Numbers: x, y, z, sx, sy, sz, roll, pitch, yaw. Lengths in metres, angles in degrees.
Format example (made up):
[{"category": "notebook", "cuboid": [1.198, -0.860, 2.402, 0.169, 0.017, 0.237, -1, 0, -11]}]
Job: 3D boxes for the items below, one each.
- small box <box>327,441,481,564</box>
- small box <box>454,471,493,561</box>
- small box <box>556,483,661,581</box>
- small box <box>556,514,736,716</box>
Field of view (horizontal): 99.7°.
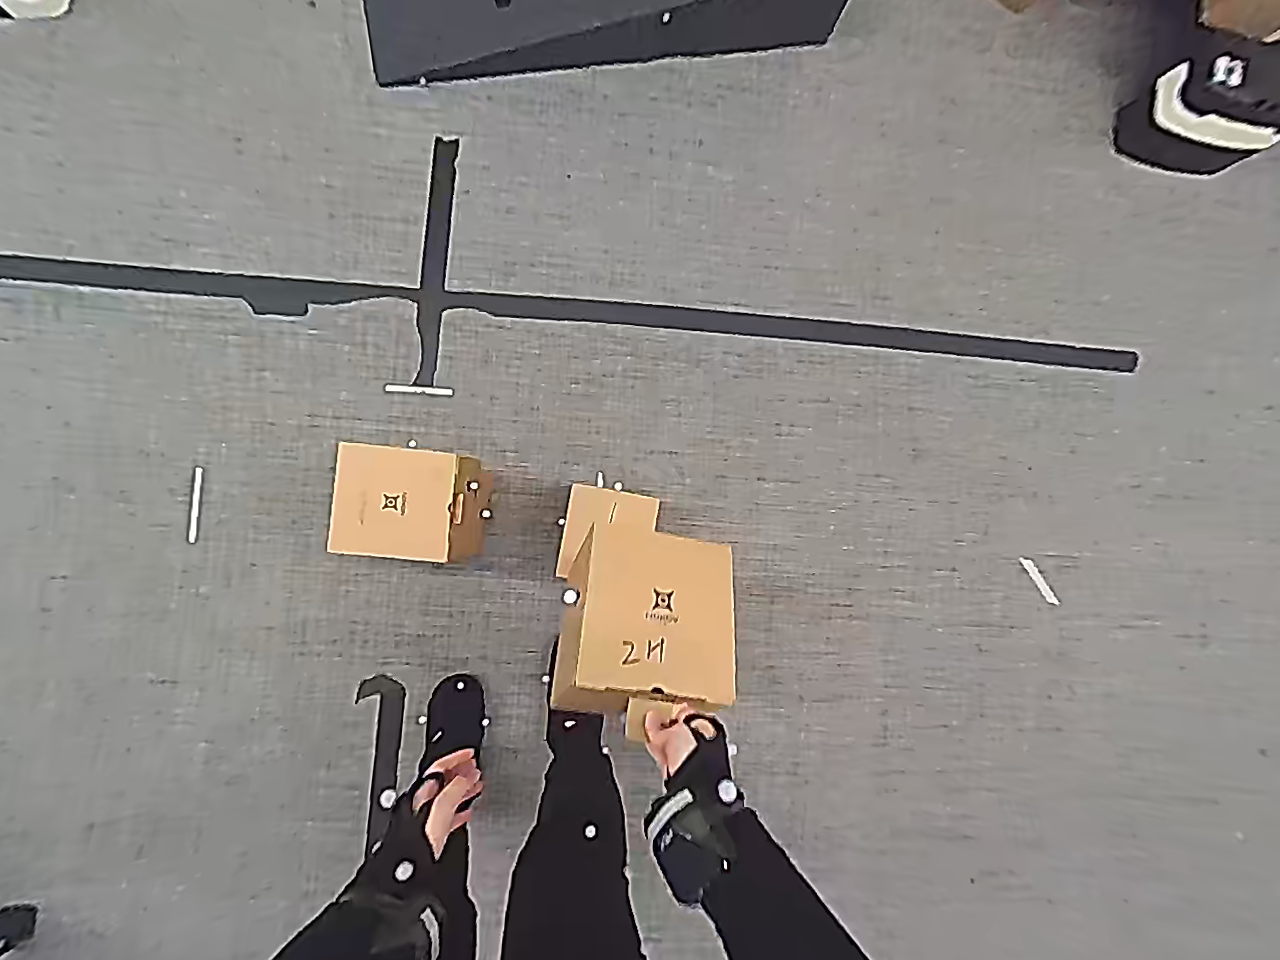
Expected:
[{"category": "small box", "cuboid": [-0.364, 0.035, 0.869, 0.179, 0.176, 0.168, 7, 88, -4]}, {"category": "small box", "cuboid": [-0.390, 0.050, 1.031, 0.179, 0.176, 0.168, 11, 87, -6]}, {"category": "small box", "cuboid": [-0.063, 0.108, 1.059, 0.168, 0.176, 0.179, 11, 87, -5]}, {"category": "small box", "cuboid": [0.003, 0.166, 0.636, 0.168, 0.176, 0.179, 12, 58, -11]}]
